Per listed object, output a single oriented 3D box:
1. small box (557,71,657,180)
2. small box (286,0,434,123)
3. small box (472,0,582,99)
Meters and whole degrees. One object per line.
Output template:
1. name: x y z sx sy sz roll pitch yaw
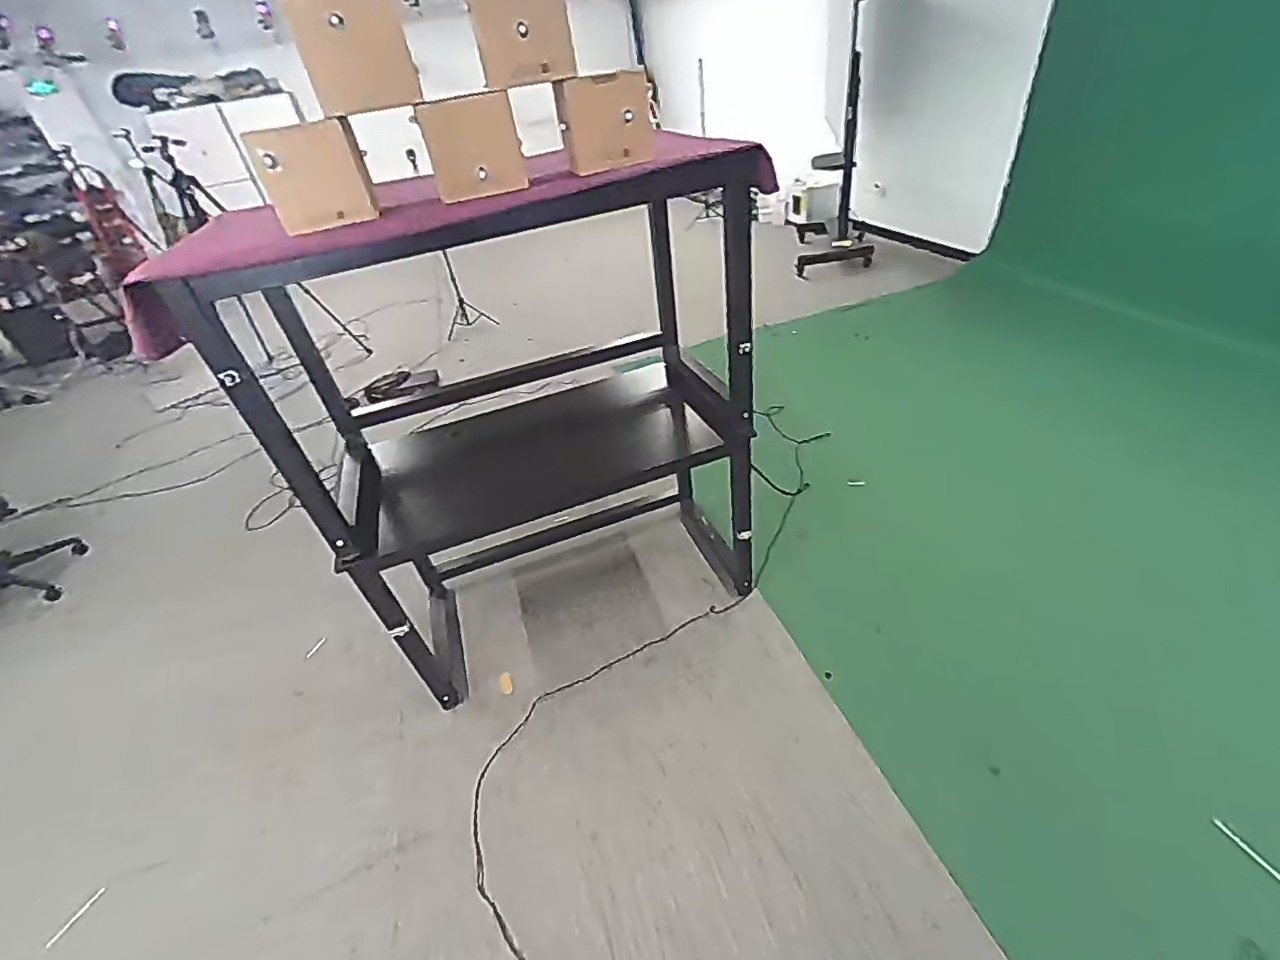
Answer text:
1. small box: -0.068 -0.748 1.149 0.168 0.176 0.179 -15 36 -7
2. small box: -0.489 -0.754 0.973 0.179 0.176 0.168 -16 37 -10
3. small box: -0.215 -0.842 1.031 0.168 0.176 0.179 -15 37 -8
